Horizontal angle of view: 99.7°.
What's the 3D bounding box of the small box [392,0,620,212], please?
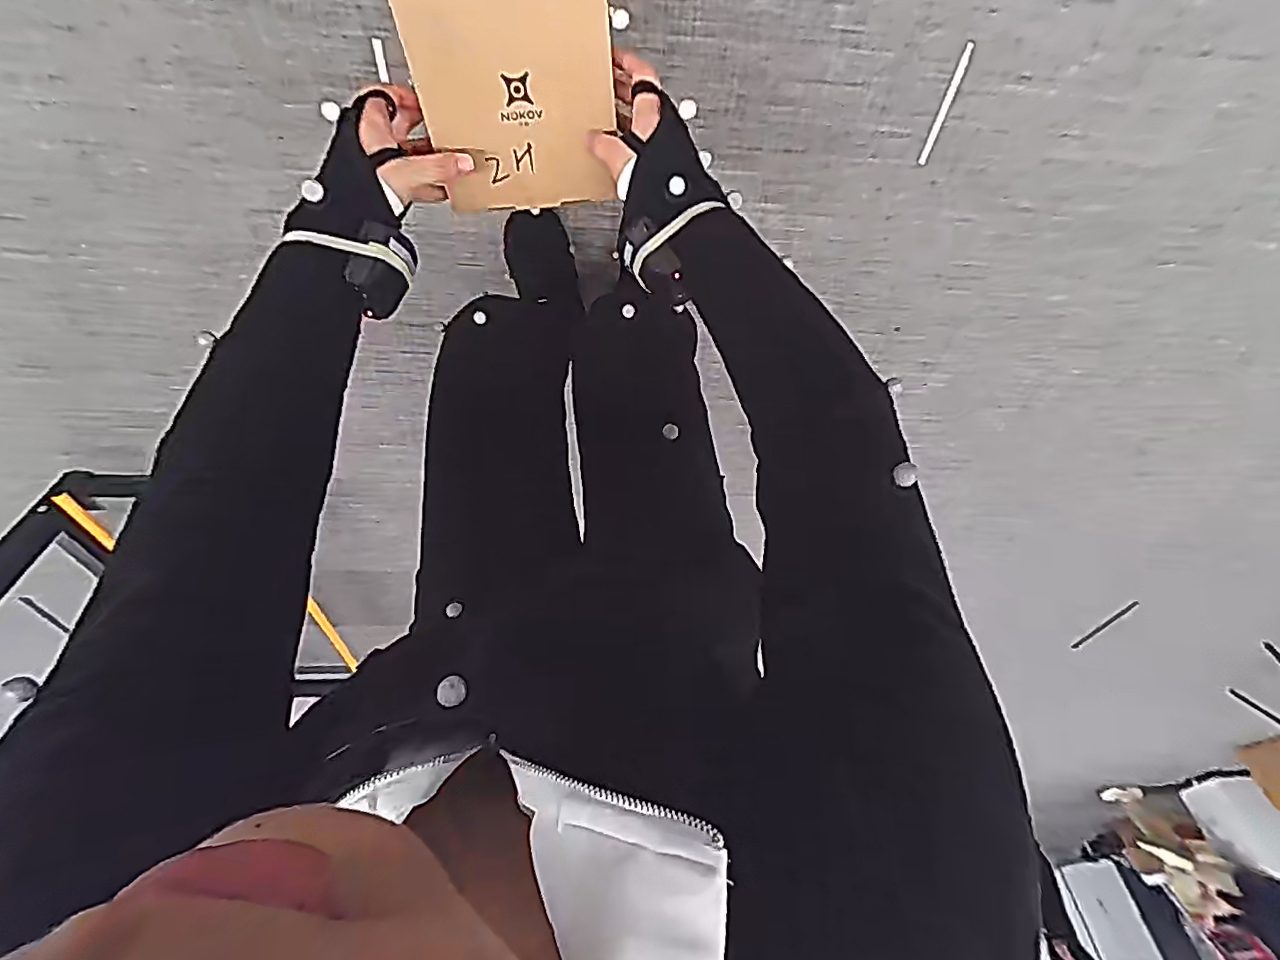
[{"bbox_3d":[-0.110,-0.382,0.512,0.168,0.176,0.179,-4,139,0],"label":"small box"}]
